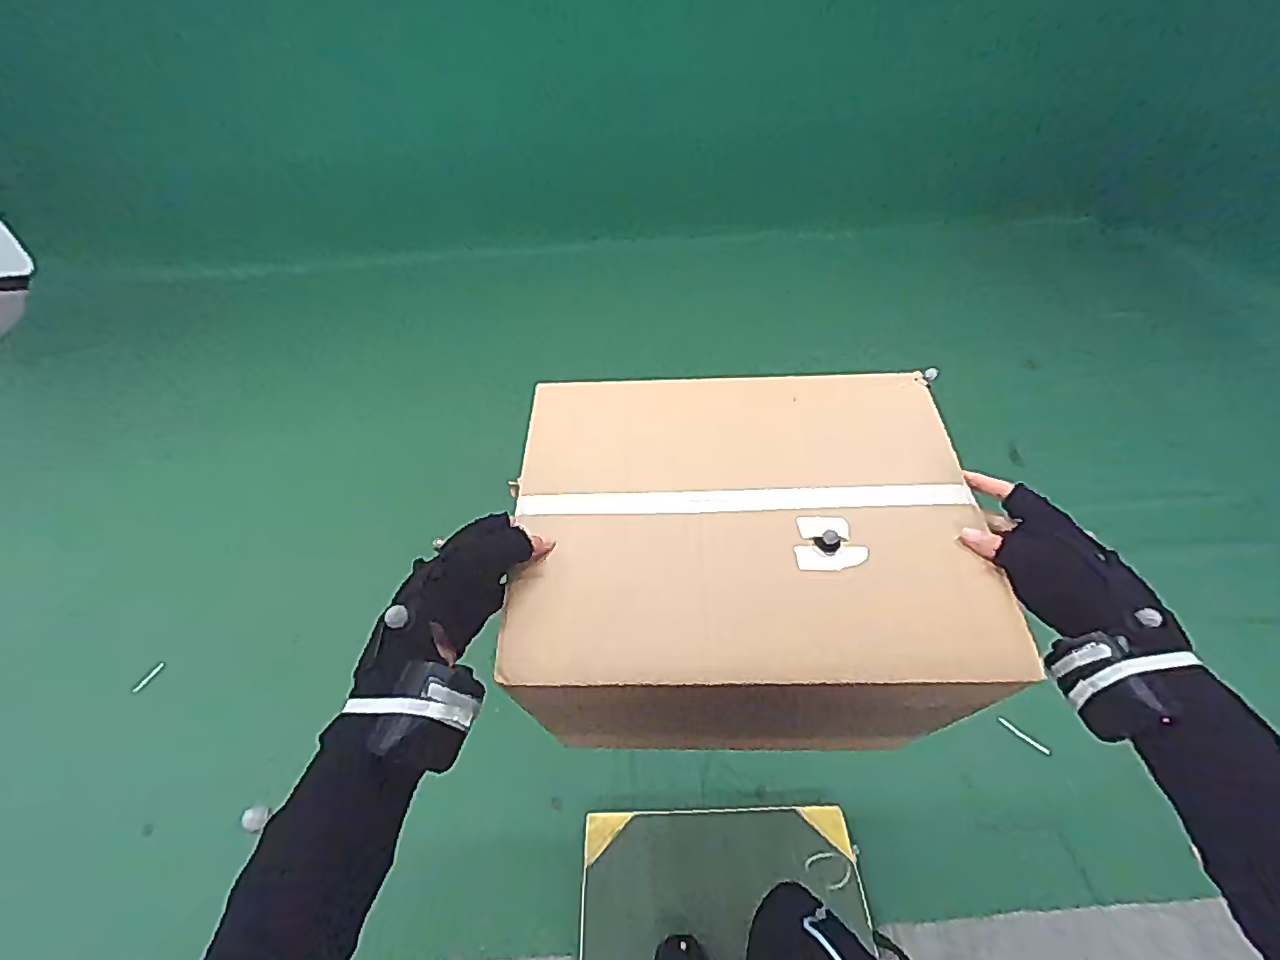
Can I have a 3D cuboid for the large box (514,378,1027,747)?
[{"bbox_3d":[0.100,0.107,0.619,0.408,0.320,0.320,-1,56,1],"label":"large box"}]
